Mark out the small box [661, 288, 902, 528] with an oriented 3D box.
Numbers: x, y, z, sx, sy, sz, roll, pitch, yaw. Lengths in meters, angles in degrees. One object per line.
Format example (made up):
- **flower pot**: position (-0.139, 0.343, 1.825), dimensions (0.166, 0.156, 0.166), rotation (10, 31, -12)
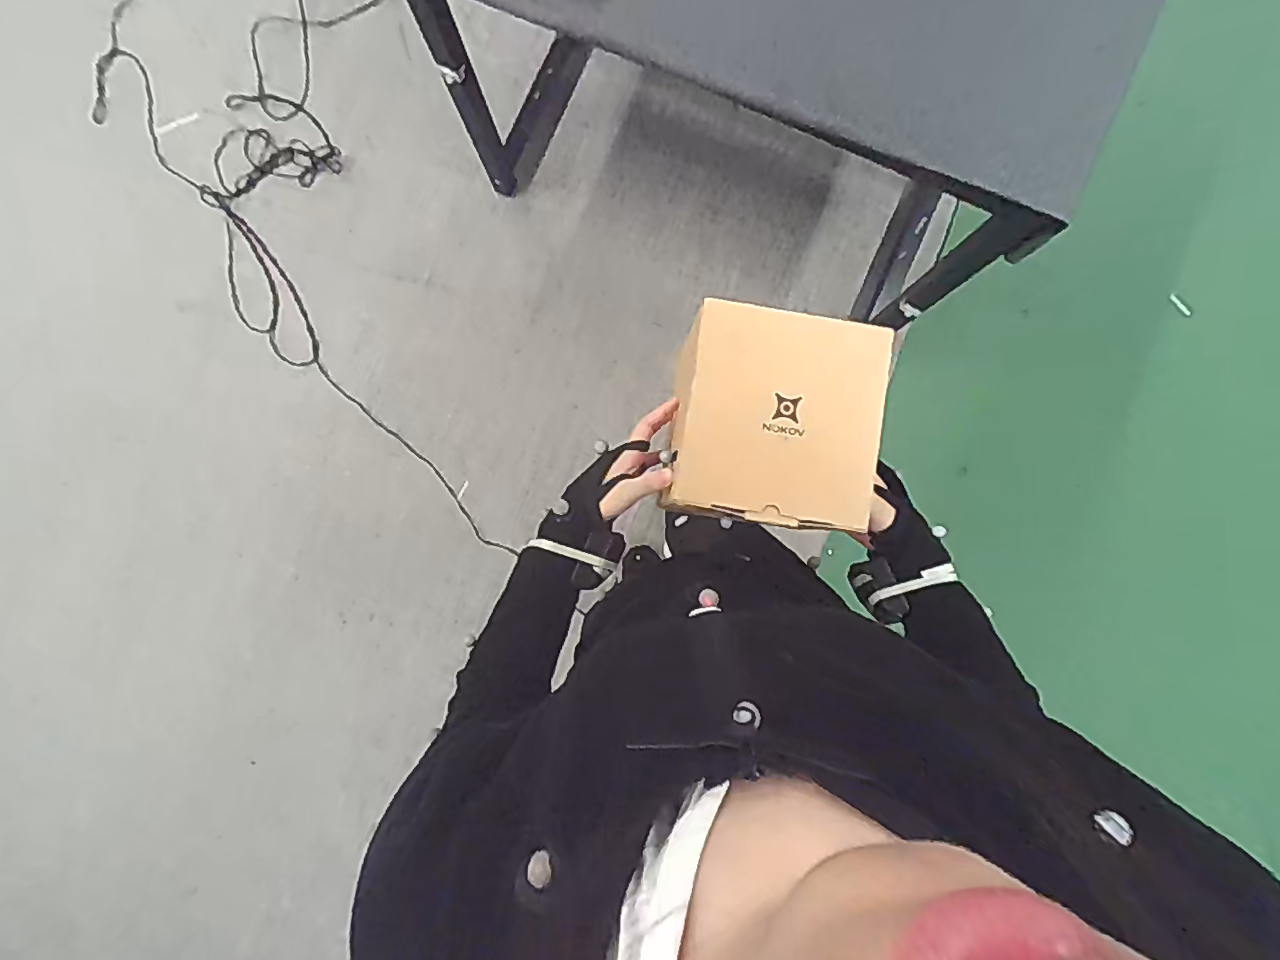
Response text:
- **small box**: position (0.119, -0.052, 0.518), dimensions (0.168, 0.176, 0.179), rotation (10, 85, -5)
